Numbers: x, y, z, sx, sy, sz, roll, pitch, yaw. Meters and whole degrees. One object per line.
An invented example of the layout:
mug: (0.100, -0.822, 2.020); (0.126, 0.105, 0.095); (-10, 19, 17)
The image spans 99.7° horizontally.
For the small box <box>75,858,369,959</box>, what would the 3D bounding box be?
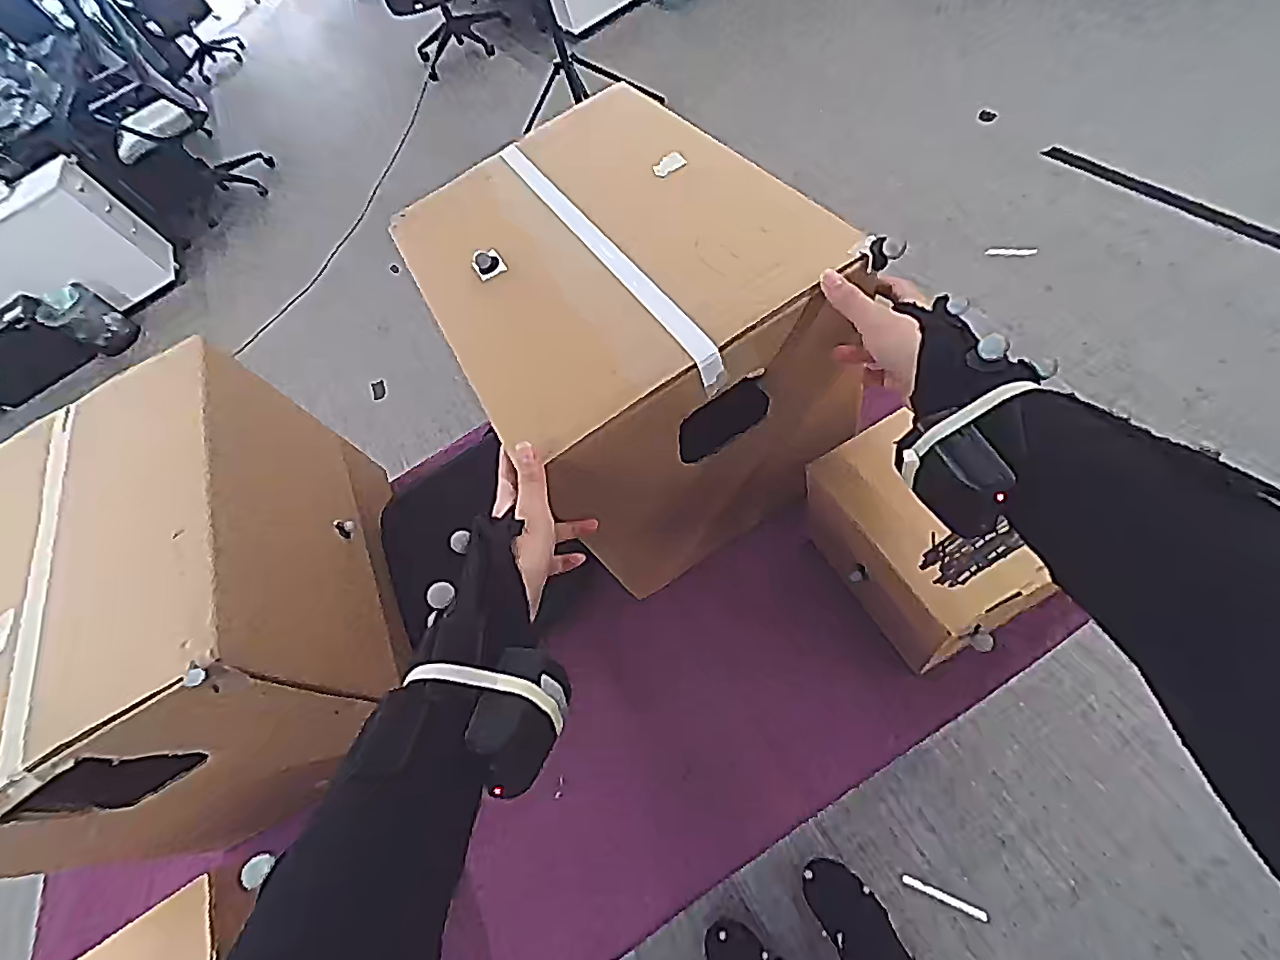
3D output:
small box: (-0.374, 0.473, 0.480); (0.179, 0.176, 0.168); (-34, 56, -4)

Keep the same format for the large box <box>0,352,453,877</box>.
large box: (-0.476, 0.142, 0.618); (0.320, 0.320, 0.408); (-32, 59, -1)
